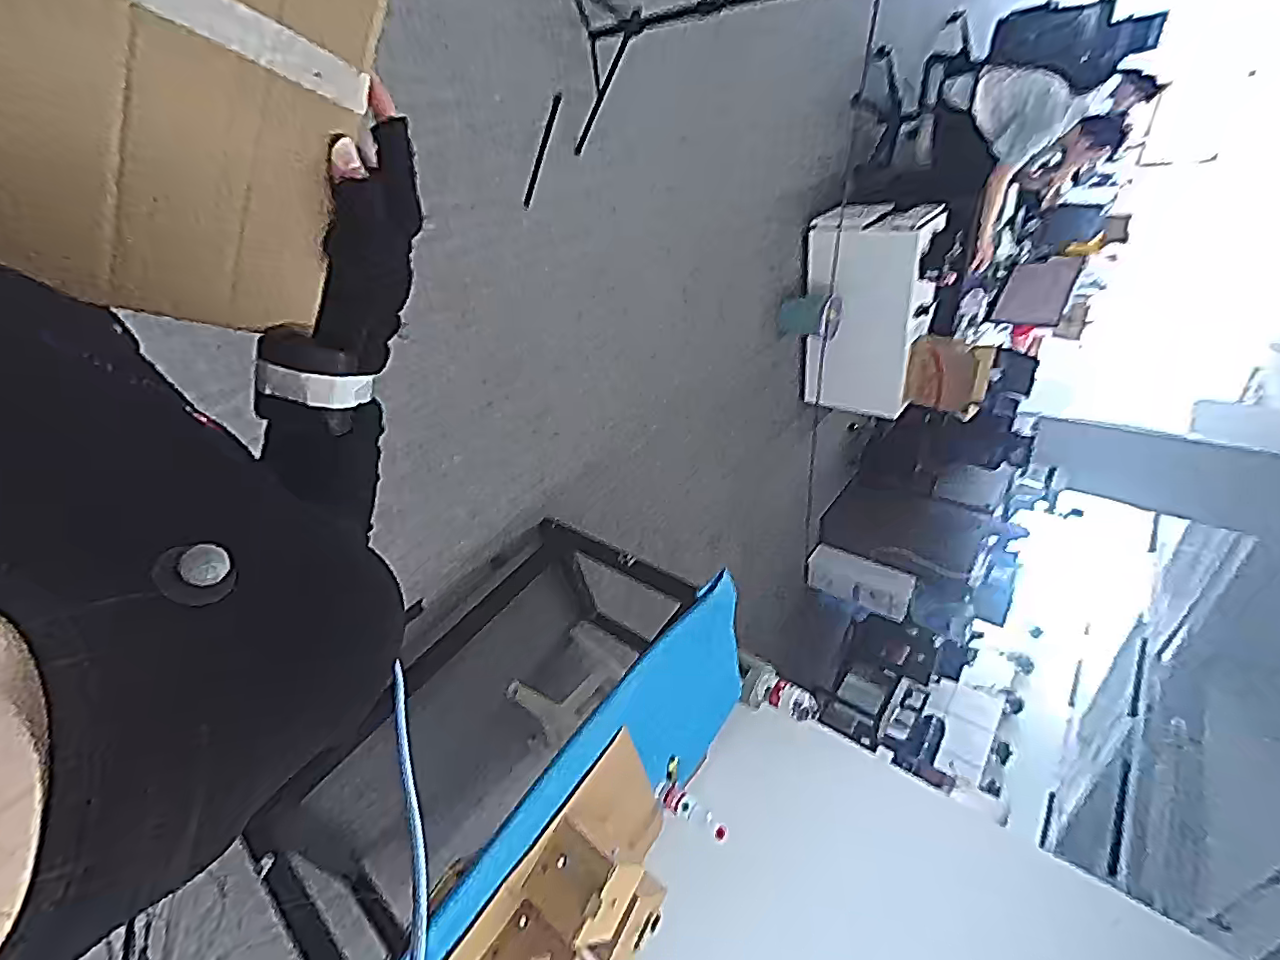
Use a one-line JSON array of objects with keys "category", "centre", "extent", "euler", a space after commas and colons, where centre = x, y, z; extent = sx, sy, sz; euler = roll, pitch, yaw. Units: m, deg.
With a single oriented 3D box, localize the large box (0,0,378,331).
[{"category": "large box", "centre": [-0.398, -0.310, 0.260], "extent": [0.408, 0.320, 0.320], "euler": [0, 125, -49]}]
